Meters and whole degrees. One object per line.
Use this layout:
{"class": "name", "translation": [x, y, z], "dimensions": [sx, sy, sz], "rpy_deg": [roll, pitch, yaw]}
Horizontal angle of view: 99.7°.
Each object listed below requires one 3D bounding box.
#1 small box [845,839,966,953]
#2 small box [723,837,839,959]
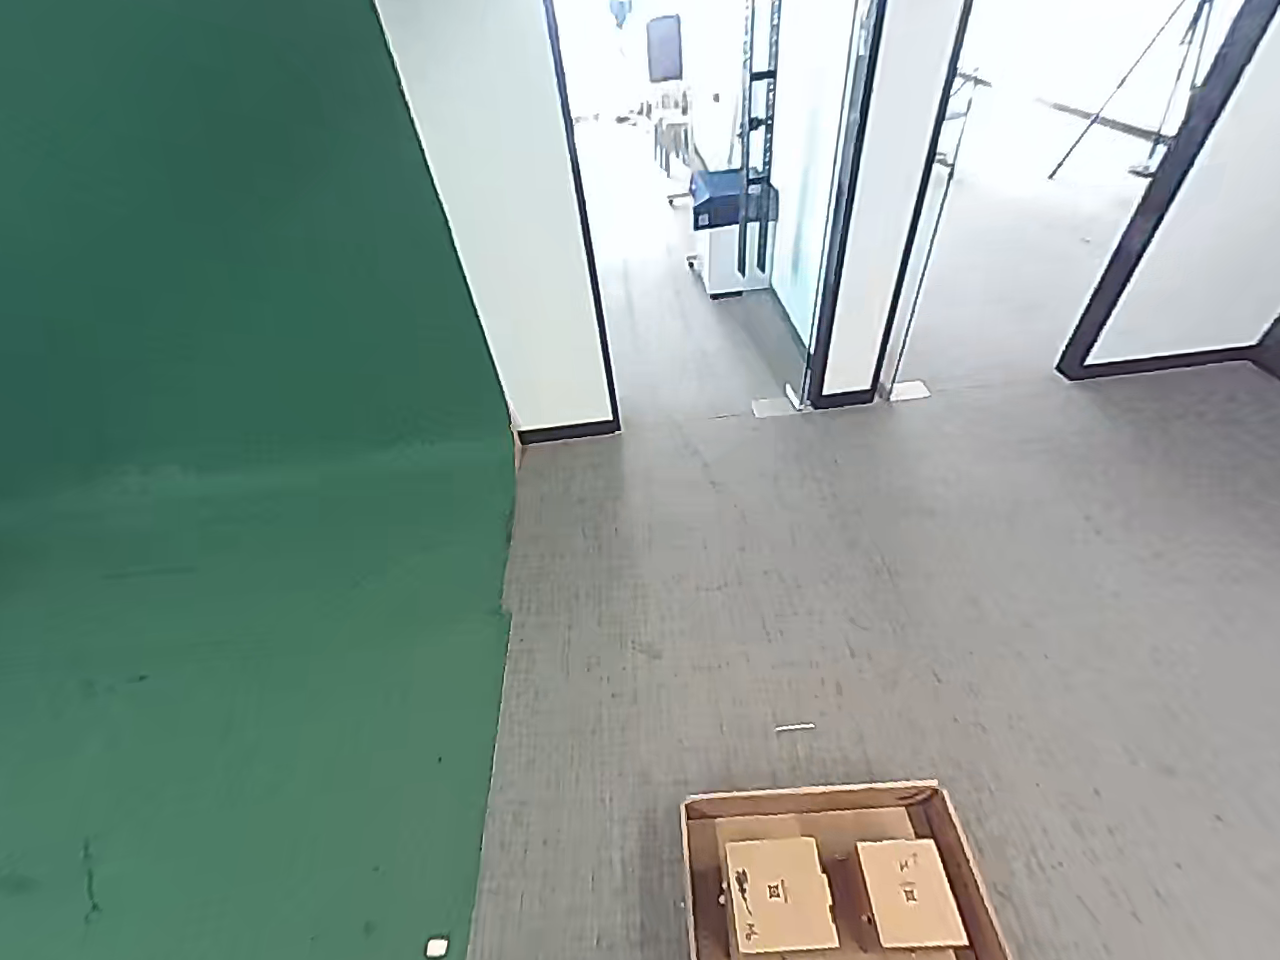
{"class": "small box", "translation": [0.552, 0.887, 1.150], "dimensions": [0.168, 0.176, 0.179], "rpy_deg": [-4, 44, 4]}
{"class": "small box", "translation": [0.259, 0.806, 1.040], "dimensions": [0.179, 0.176, 0.168], "rpy_deg": [-4, 43, 1]}
